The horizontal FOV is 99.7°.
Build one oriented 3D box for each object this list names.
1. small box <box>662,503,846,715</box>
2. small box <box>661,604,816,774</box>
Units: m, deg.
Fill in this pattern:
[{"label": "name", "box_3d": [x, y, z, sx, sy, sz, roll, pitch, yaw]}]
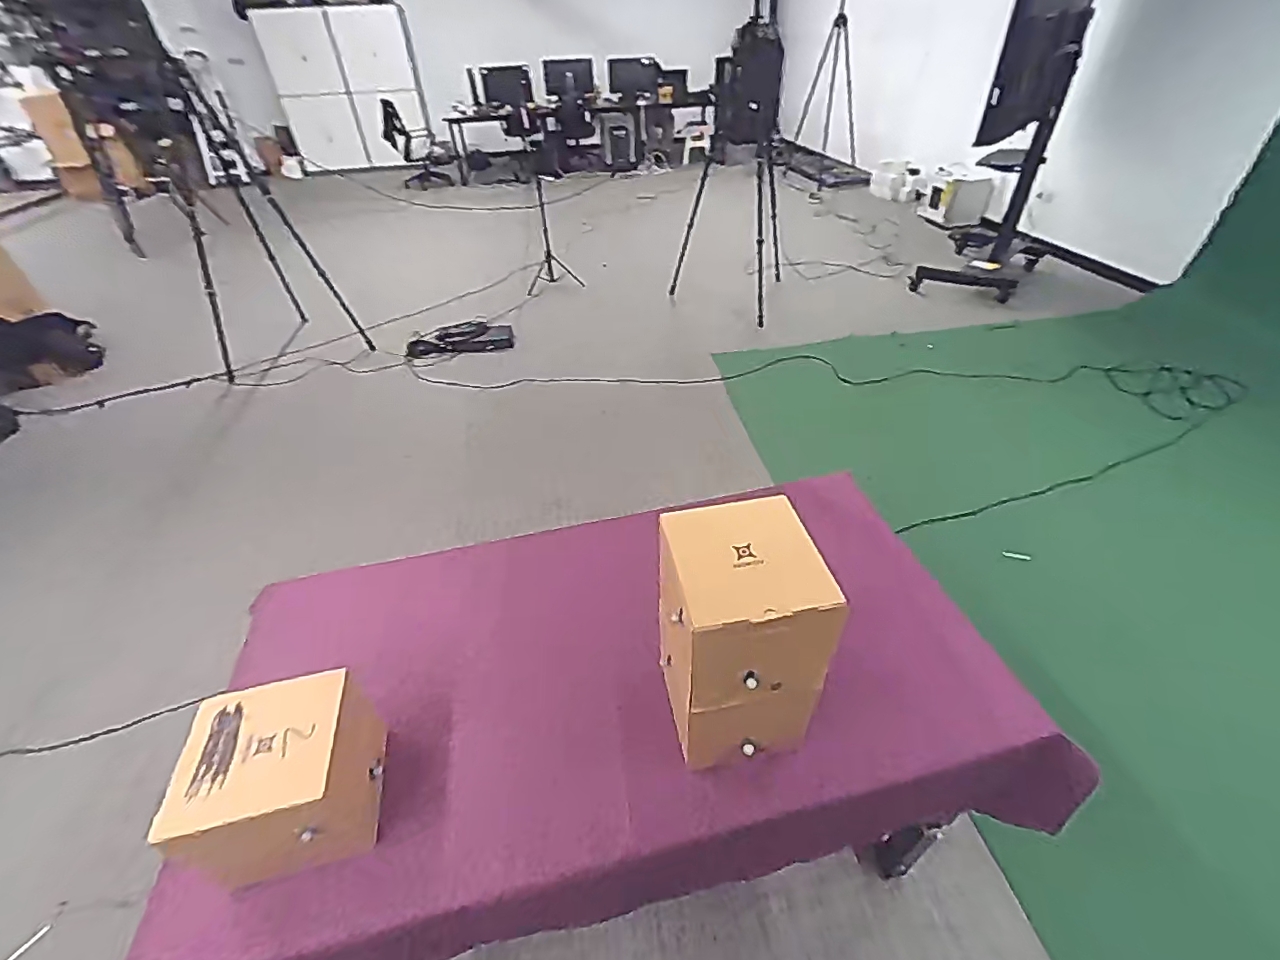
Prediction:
[{"label": "small box", "box_3d": [0.121, 0.154, 0.661, 0.168, 0.176, 0.179, -8, 41, -7]}, {"label": "small box", "box_3d": [0.125, 0.280, 0.765, 0.168, 0.176, 0.179, -9, 40, -6]}]
